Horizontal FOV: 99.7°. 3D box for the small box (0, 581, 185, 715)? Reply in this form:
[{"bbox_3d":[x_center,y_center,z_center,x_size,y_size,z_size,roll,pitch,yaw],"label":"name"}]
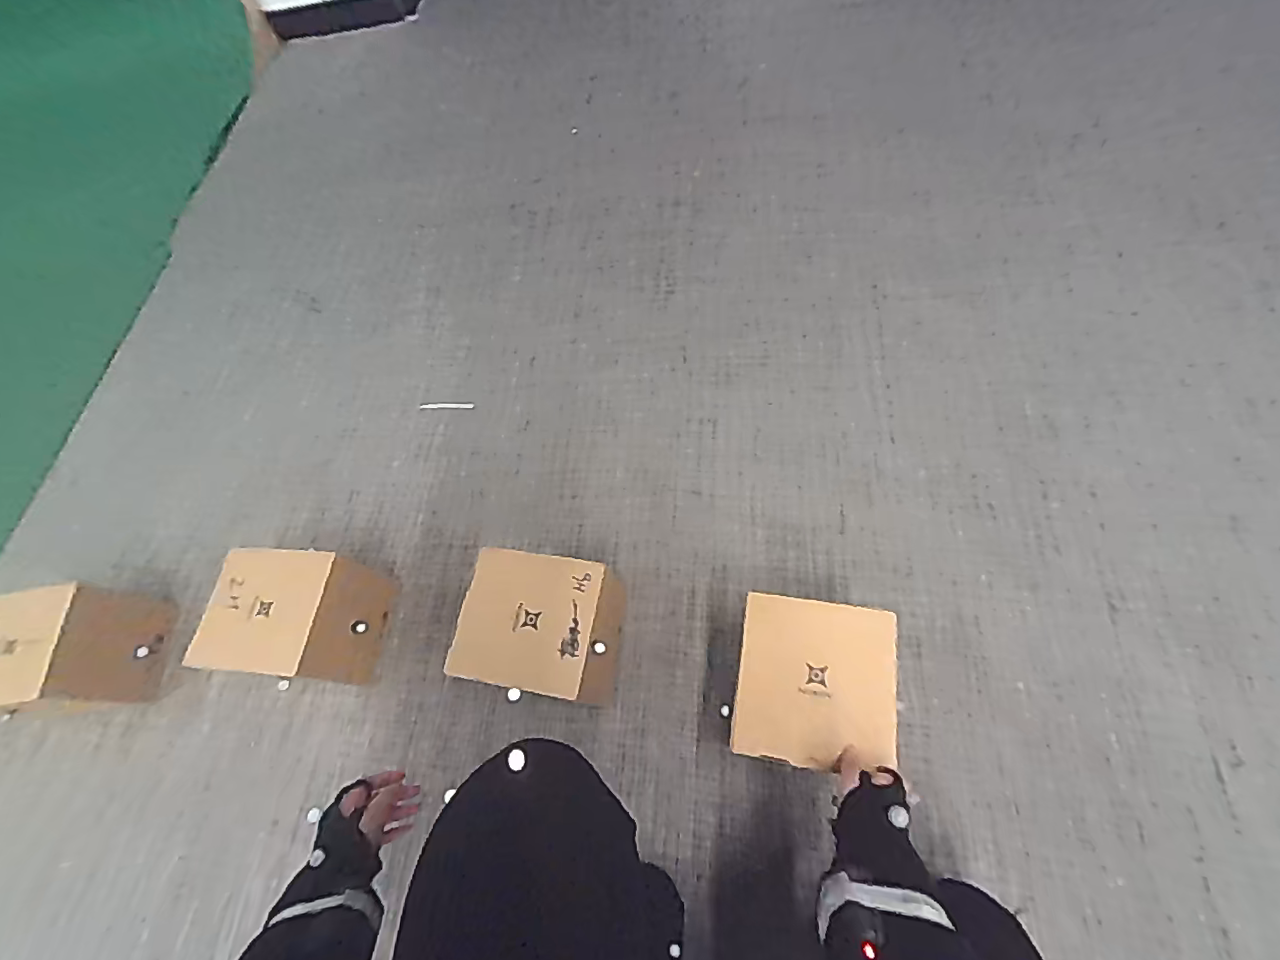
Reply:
[{"bbox_3d":[-0.885,0.270,0.850,0.179,0.176,0.168,-10,64,5],"label":"small box"}]

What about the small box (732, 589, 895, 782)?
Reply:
[{"bbox_3d":[0.204,0.250,0.664,0.168,0.176,0.179,6,67,13],"label":"small box"}]

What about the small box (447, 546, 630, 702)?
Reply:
[{"bbox_3d":[-0.125,0.203,0.744,0.179,0.176,0.168,6,67,14],"label":"small box"}]

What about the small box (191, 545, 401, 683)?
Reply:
[{"bbox_3d":[-0.494,0.206,0.809,0.179,0.176,0.168,1,65,11],"label":"small box"}]
